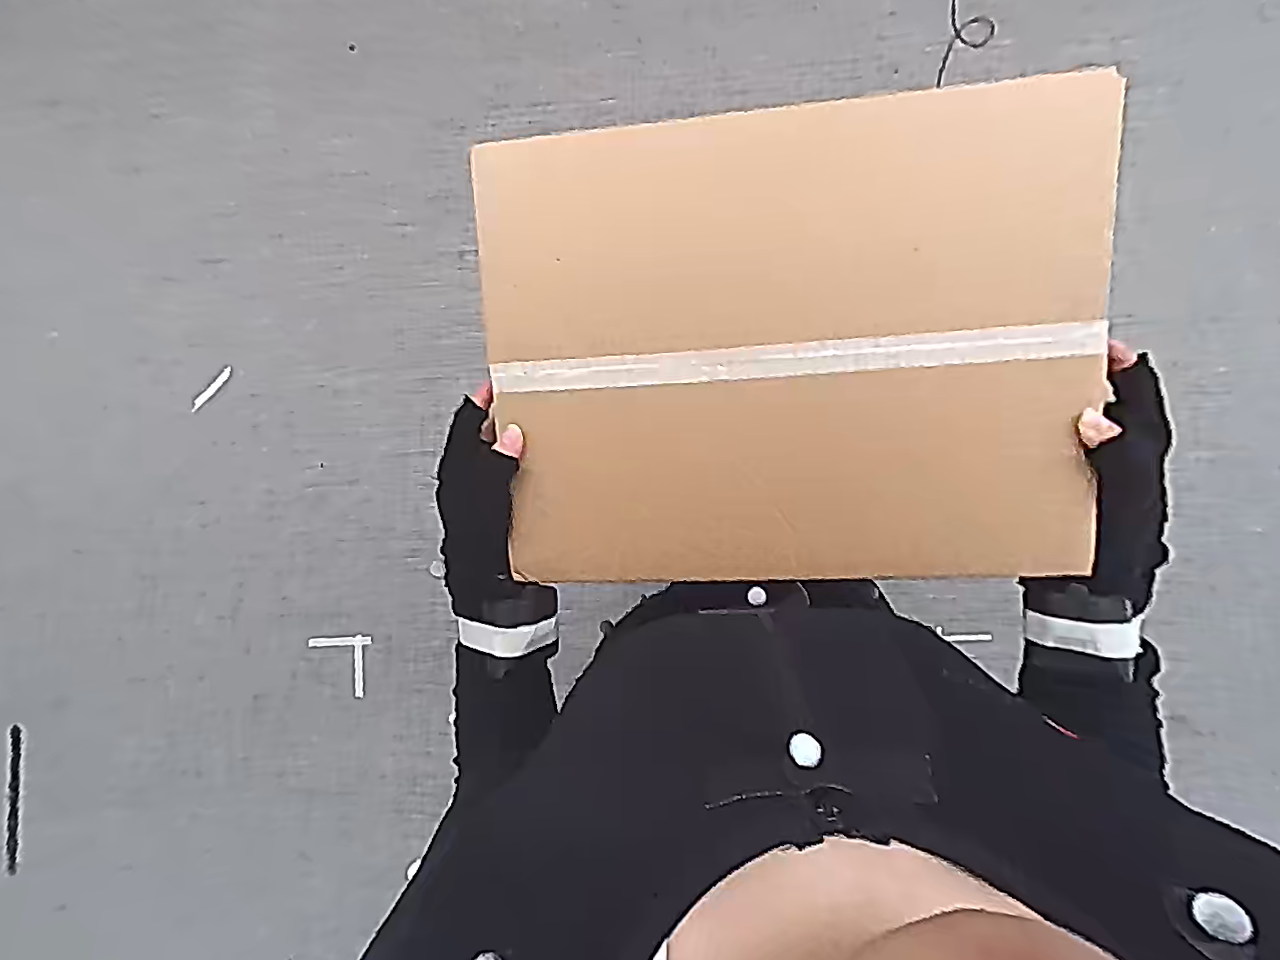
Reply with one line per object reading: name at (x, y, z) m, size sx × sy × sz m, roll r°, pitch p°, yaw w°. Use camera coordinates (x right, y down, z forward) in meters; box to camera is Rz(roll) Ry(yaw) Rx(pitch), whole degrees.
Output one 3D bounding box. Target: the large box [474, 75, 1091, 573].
large box at (0.107, -0.112, 0.521) m, size 0.408 × 0.320 × 0.320 m, roll -2°, pitch 98°, yaw 7°
